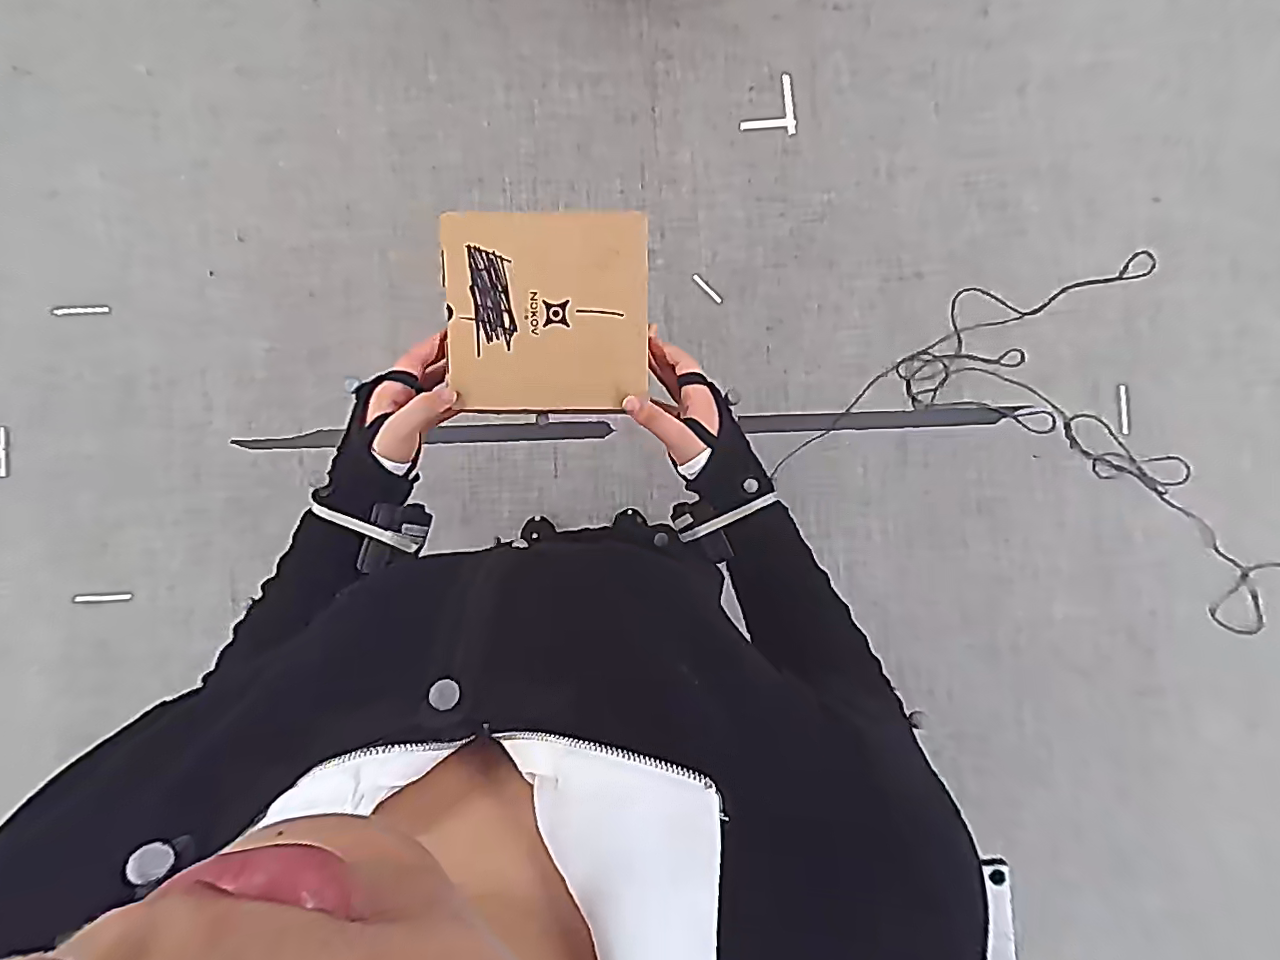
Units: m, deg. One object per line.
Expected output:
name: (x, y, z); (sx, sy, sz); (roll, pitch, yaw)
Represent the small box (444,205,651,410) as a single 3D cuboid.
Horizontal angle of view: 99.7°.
small box: (-0.079, -0.156, 0.540); (0.179, 0.176, 0.168); (0, 96, -1)
